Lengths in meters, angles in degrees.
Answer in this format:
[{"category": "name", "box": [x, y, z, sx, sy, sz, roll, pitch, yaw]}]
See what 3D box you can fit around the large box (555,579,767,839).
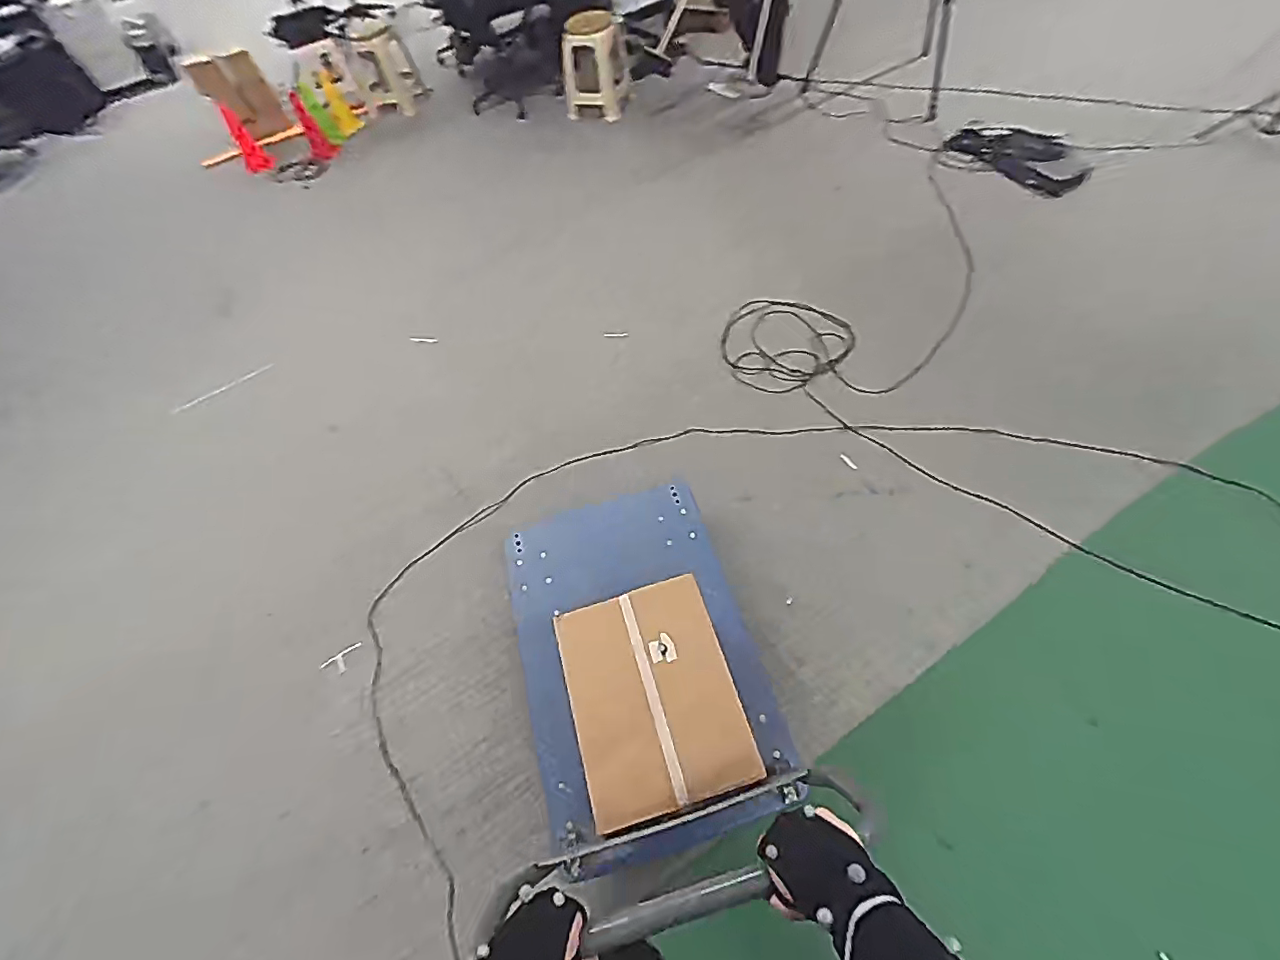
[{"category": "large box", "box": [0.042, 0.493, 1.168, 0.320, 0.320, 0.408, -18, 57, -4]}]
